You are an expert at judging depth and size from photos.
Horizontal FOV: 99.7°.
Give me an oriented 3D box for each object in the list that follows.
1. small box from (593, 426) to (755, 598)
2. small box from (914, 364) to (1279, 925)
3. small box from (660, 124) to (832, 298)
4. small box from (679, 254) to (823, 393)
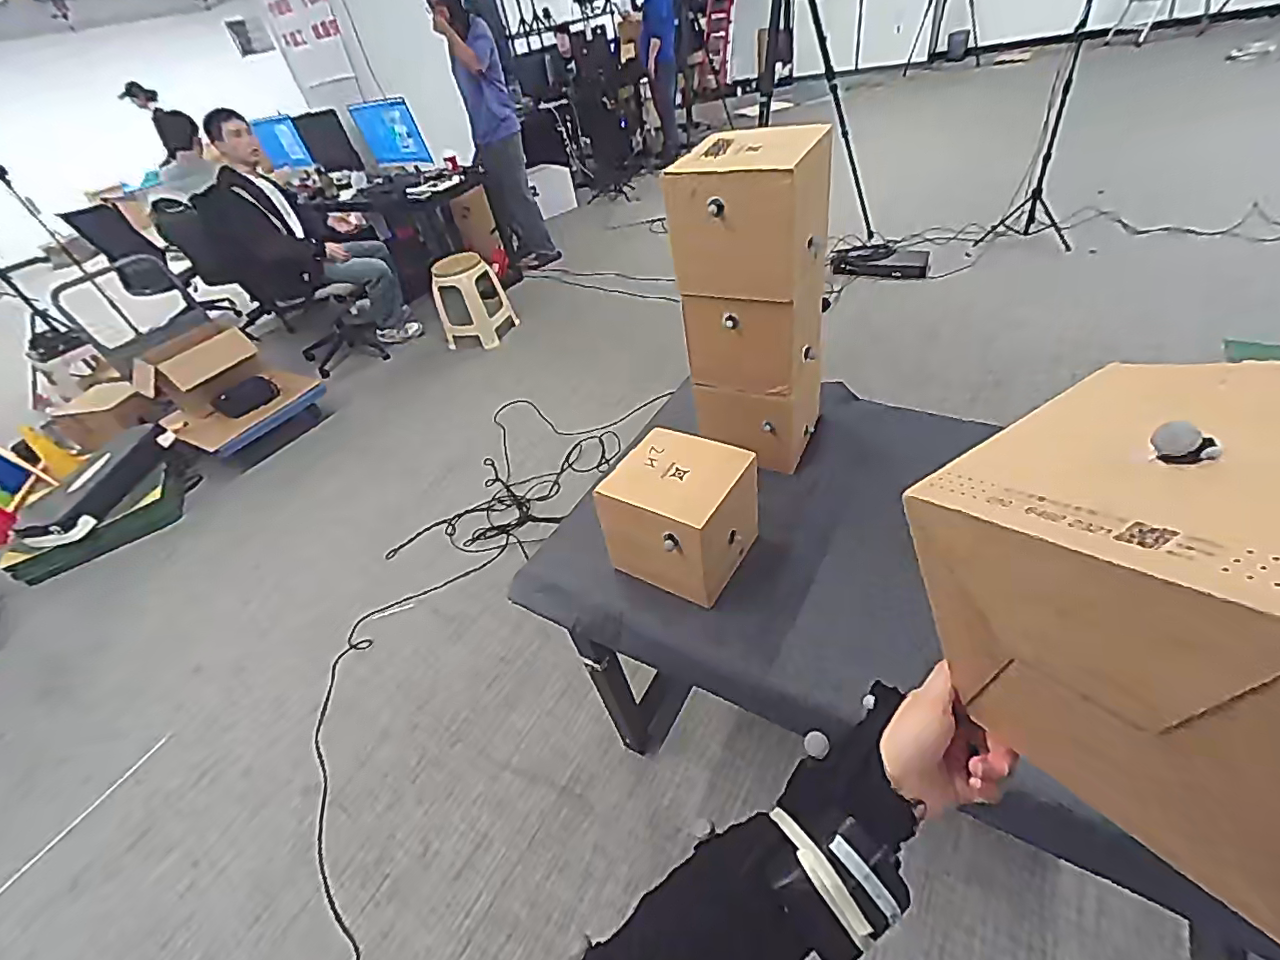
[{"bbox_3d":[0.060,0.049,0.806,0.179,0.176,0.168,18,48,30],"label":"small box"},{"bbox_3d":[0.271,0.060,0.268,0.176,0.179,0.168,-29,21,-10],"label":"small box"},{"bbox_3d":[0.151,-0.370,0.752,0.179,0.176,0.168,16,51,27],"label":"small box"},{"bbox_3d":[0.182,-0.259,0.870,0.179,0.176,0.168,14,51,26],"label":"small box"}]
